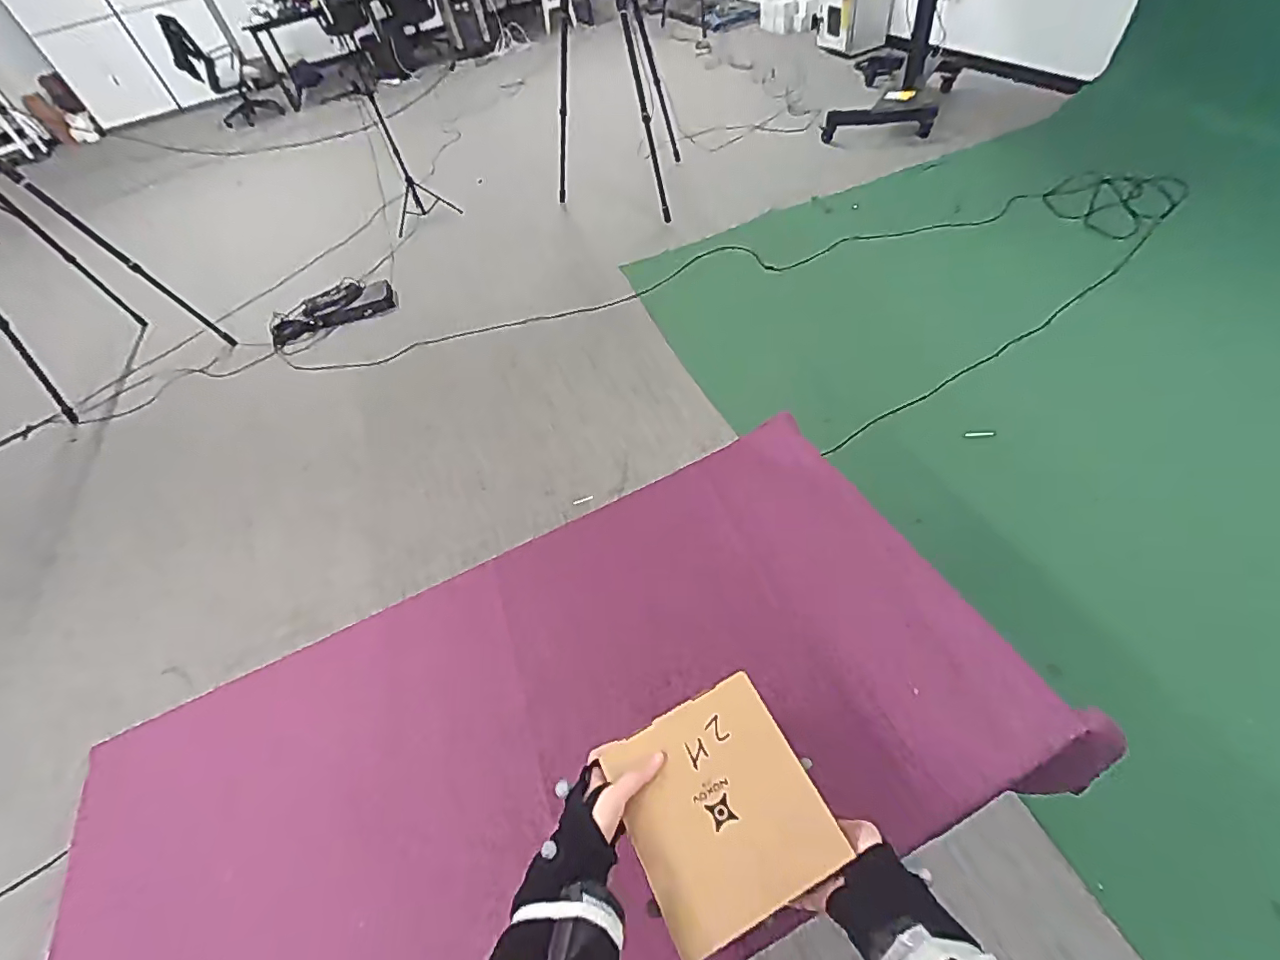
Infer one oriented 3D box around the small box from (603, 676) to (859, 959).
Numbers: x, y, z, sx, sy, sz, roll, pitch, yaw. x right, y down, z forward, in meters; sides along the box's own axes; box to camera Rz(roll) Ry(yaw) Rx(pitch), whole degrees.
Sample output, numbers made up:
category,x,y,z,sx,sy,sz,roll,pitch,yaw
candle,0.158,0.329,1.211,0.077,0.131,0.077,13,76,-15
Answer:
category,x,y,z,sx,sy,sz,roll,pitch,yaw
small box,0.085,0.331,0.545,0.168,0.176,0.179,-28,57,-8
